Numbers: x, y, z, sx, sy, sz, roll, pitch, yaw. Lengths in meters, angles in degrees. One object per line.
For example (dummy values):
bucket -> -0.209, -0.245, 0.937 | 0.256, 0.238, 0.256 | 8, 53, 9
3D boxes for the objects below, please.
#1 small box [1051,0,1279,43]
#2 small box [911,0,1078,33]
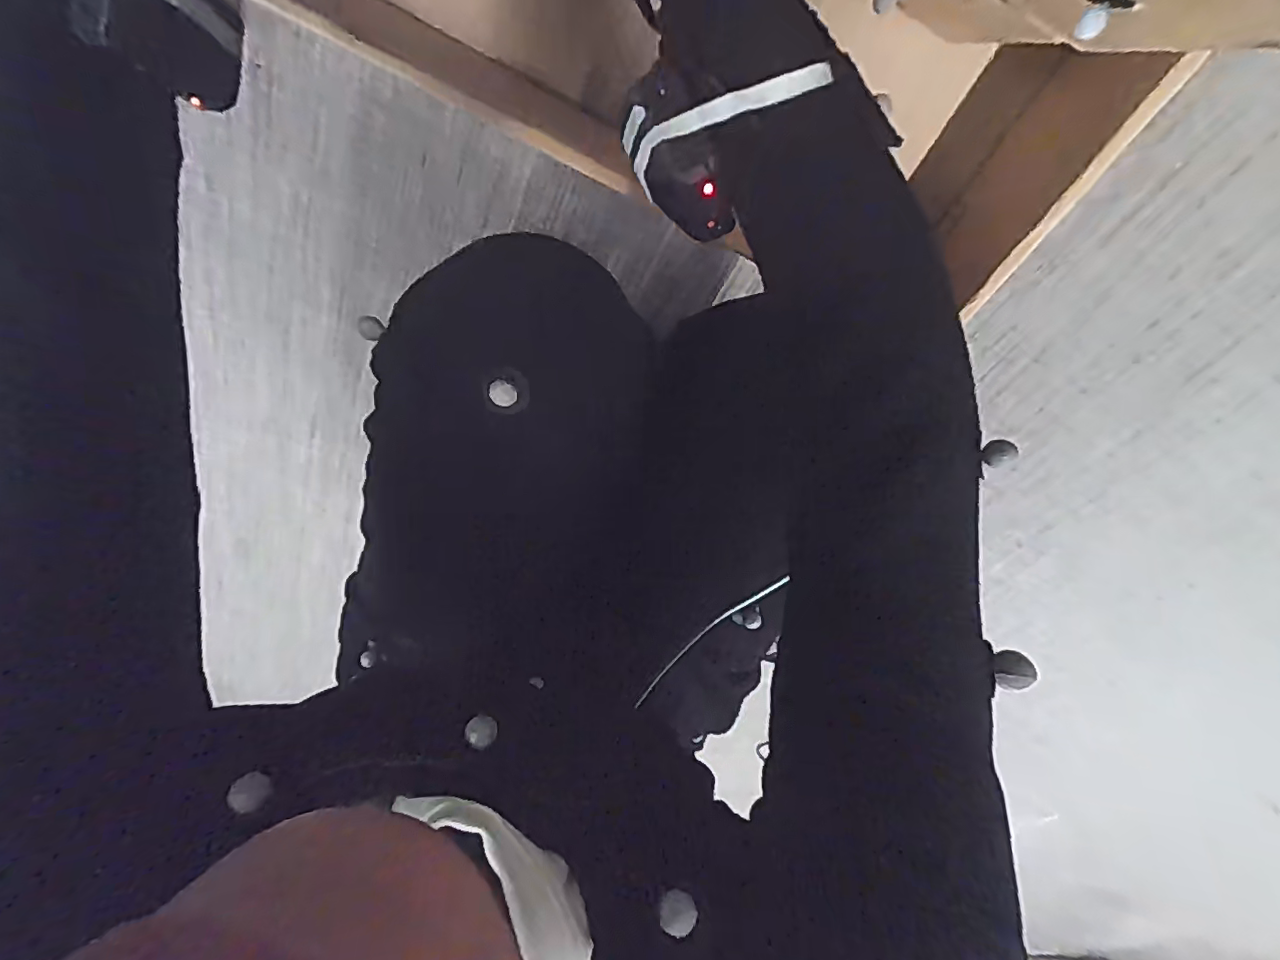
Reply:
small box -> 0.199, -0.260, 0.152 | 0.168, 0.176, 0.179 | 23, 128, -12
small box -> 0.202, -0.378, 0.290 | 0.168, 0.176, 0.179 | 20, 128, -8
